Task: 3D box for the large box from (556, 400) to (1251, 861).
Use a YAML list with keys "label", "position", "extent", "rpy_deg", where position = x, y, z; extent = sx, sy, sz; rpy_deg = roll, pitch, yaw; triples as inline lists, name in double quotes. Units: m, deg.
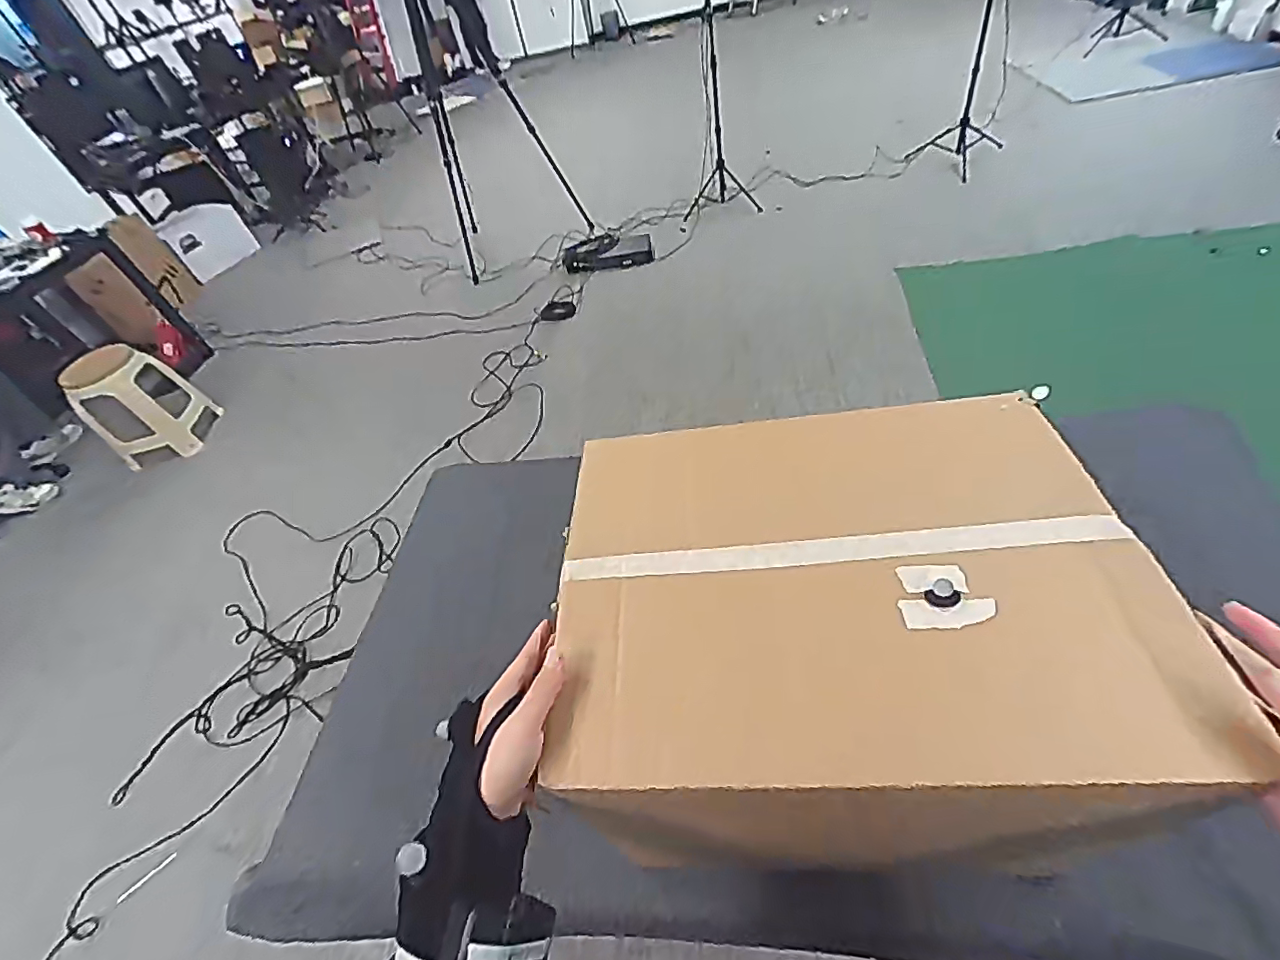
- label: "large box"
  position: [0.165, 0.157, 0.526]
  extent: [0.408, 0.320, 0.320]
  rpy_deg: [-5, 47, 8]
